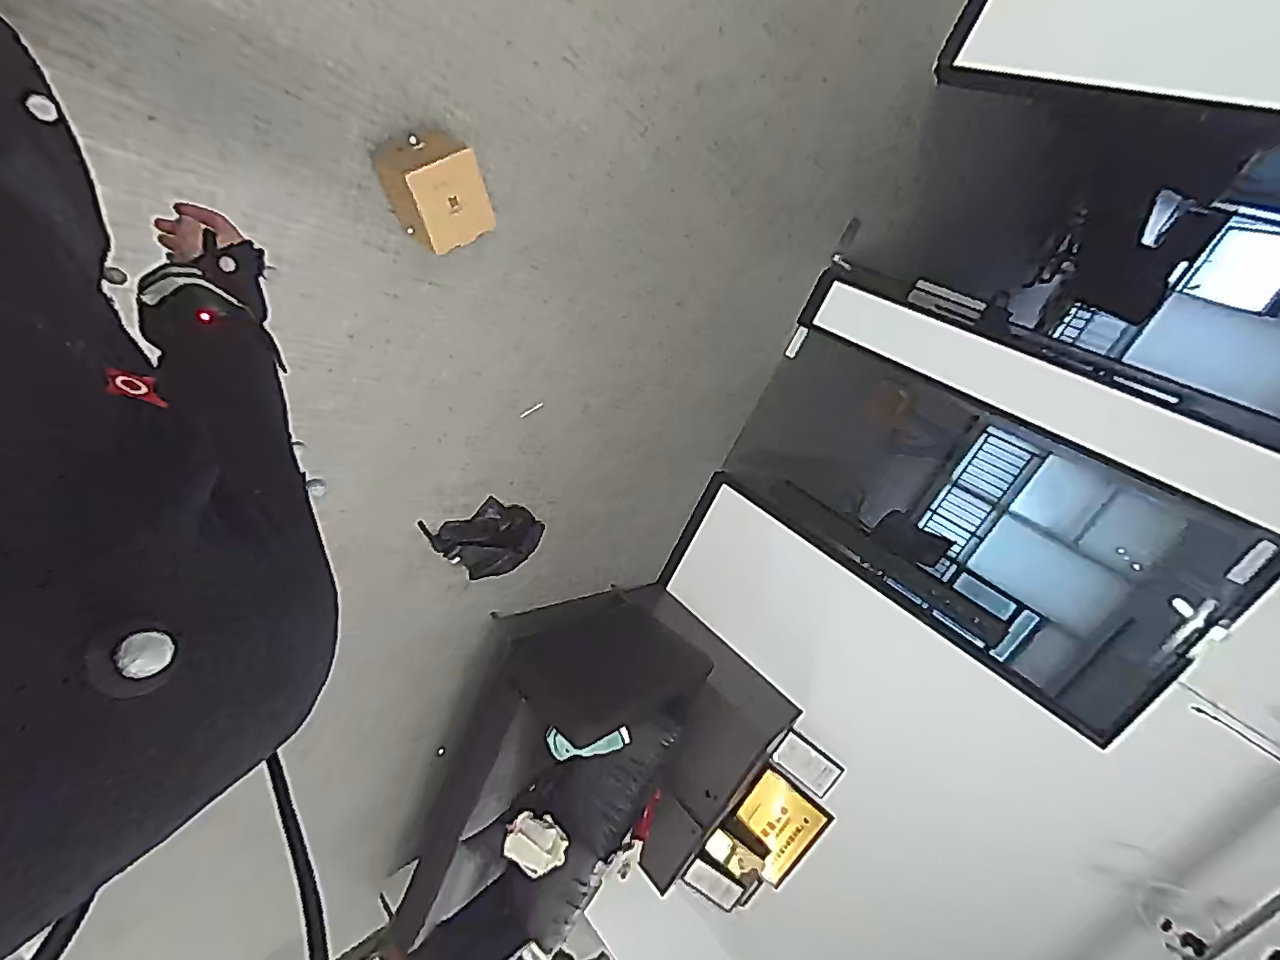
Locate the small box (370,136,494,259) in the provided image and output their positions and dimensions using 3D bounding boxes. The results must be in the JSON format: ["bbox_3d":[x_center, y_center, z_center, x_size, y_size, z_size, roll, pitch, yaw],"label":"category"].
[{"bbox_3d":[-0.460,-0.632,1.204,0.168,0.176,0.179,-40,147,-22],"label":"small box"}]
